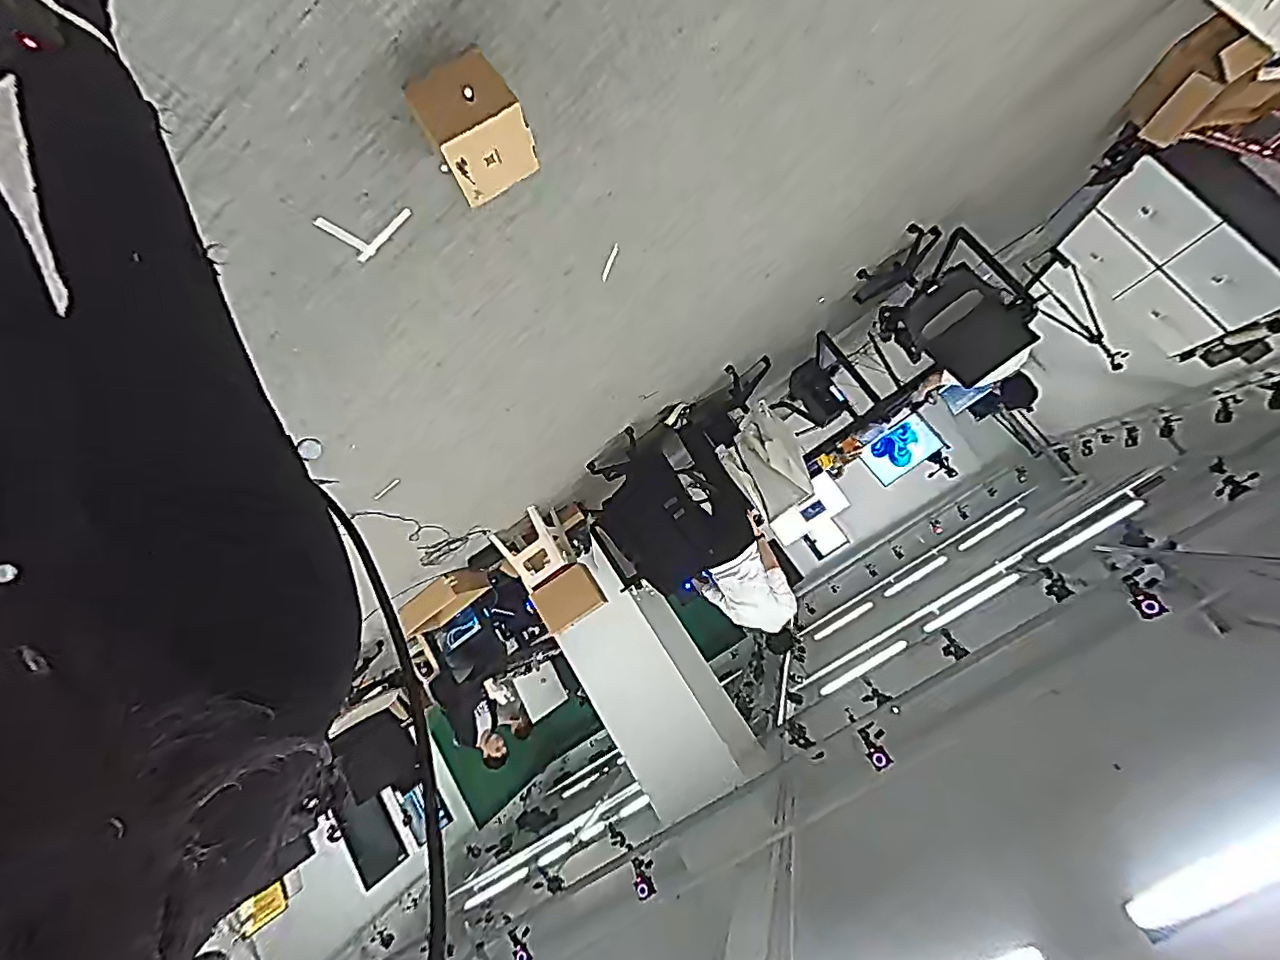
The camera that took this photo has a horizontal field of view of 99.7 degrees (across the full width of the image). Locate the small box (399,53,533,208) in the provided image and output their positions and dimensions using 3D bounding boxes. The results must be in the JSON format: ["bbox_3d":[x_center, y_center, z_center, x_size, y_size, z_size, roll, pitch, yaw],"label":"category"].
[{"bbox_3d":[-0.348,-0.709,1.098,0.179,0.176,0.168,-33,167,-5],"label":"small box"}]
